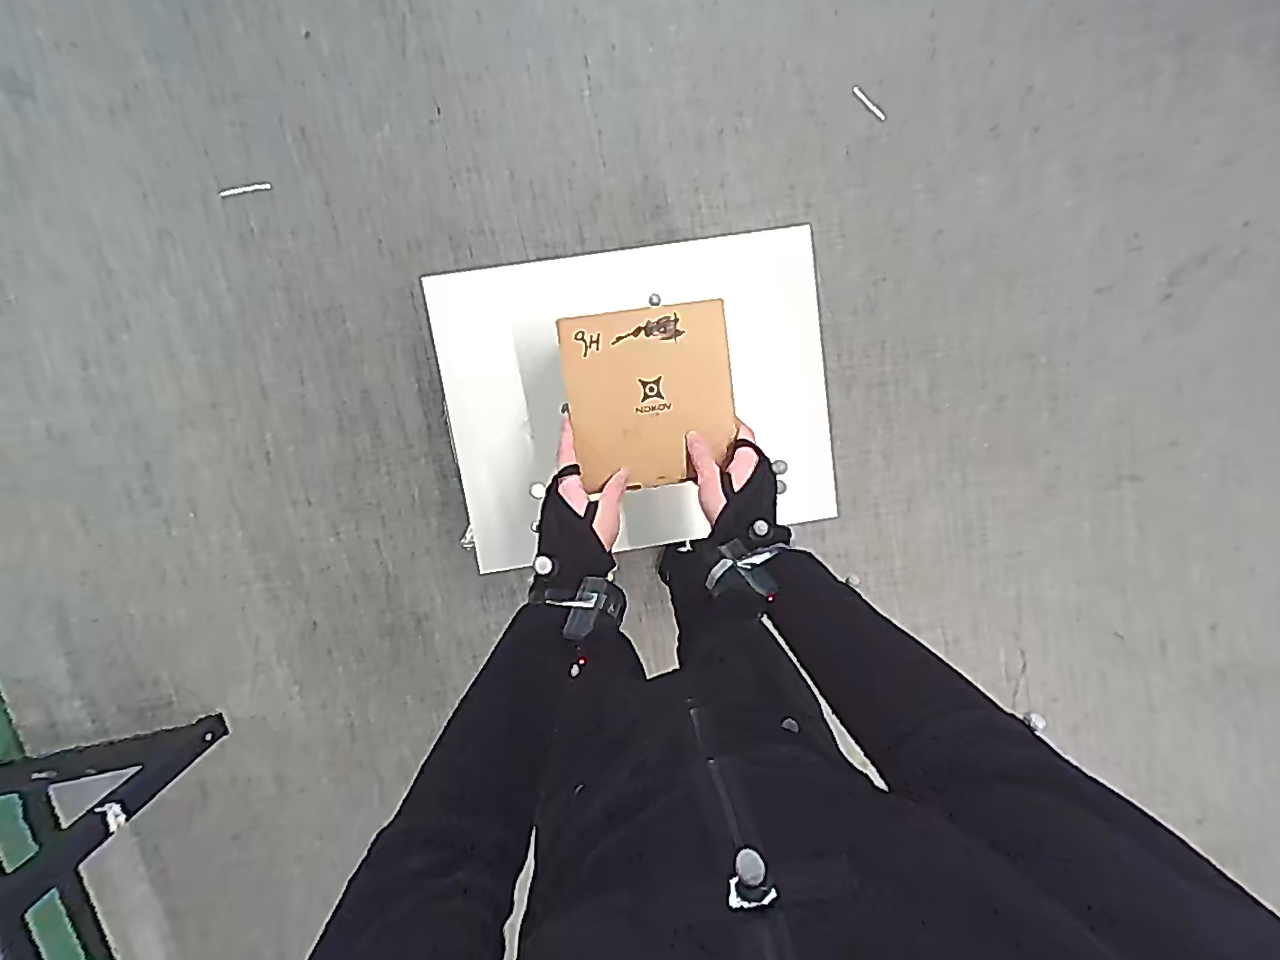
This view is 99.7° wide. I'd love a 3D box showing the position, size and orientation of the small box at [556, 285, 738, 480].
[{"bbox_3d":[0.007,-0.109,0.622,0.168,0.176,0.179,-10,99,-1],"label":"small box"}]
